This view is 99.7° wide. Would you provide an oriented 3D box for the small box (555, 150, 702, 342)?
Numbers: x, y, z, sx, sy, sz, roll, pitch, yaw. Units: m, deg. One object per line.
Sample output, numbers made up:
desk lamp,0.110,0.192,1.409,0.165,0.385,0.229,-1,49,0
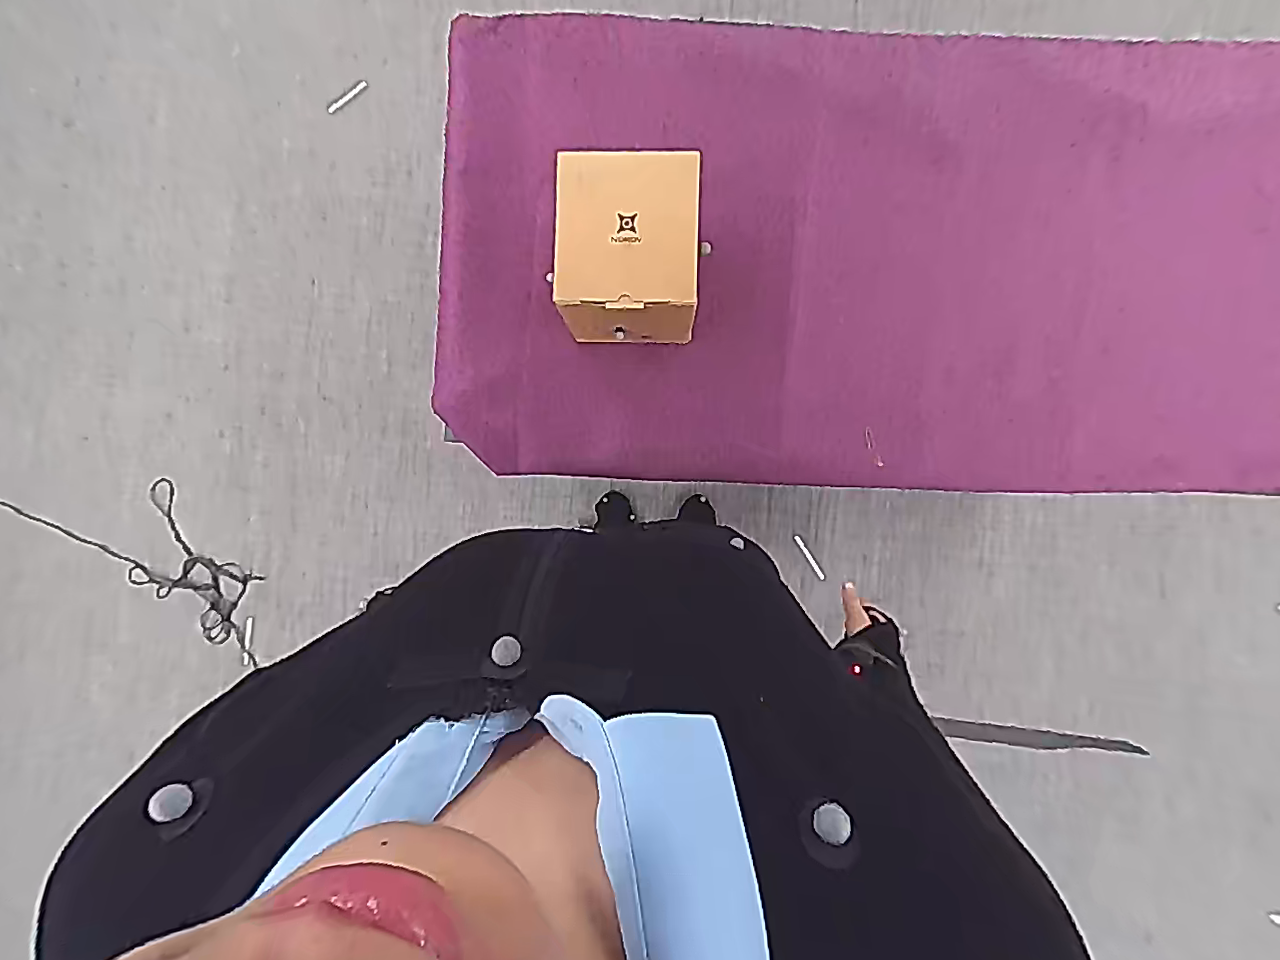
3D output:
small box,-0.011,-0.287,0.694,0.168,0.176,0.179,1,90,2
